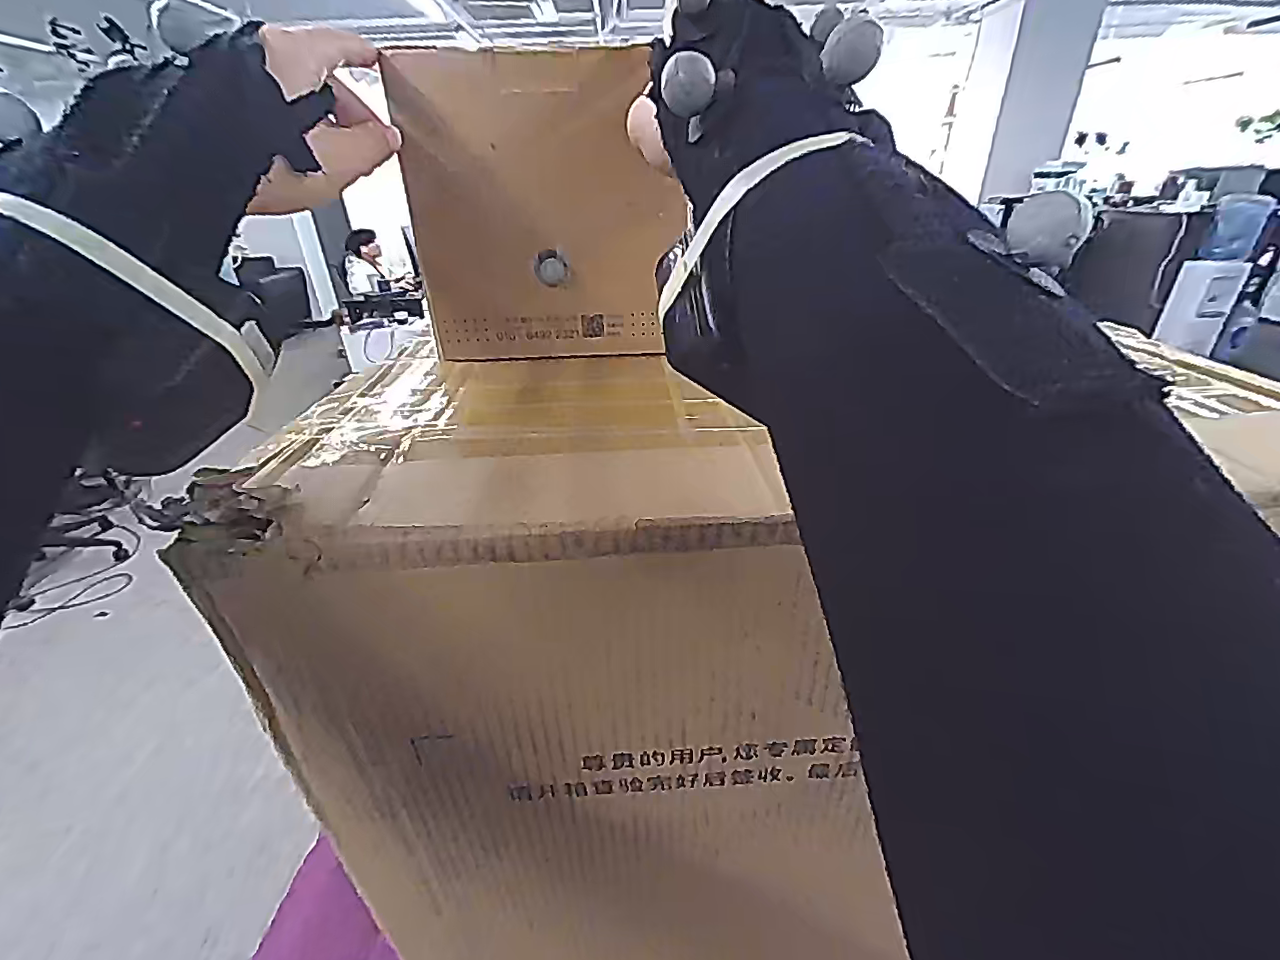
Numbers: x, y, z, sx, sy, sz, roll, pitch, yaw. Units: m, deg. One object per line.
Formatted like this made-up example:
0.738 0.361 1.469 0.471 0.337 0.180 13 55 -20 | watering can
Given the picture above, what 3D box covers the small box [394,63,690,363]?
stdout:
-0.056 -0.192 0.406 0.168 0.176 0.179 -3 29 -1 | small box
